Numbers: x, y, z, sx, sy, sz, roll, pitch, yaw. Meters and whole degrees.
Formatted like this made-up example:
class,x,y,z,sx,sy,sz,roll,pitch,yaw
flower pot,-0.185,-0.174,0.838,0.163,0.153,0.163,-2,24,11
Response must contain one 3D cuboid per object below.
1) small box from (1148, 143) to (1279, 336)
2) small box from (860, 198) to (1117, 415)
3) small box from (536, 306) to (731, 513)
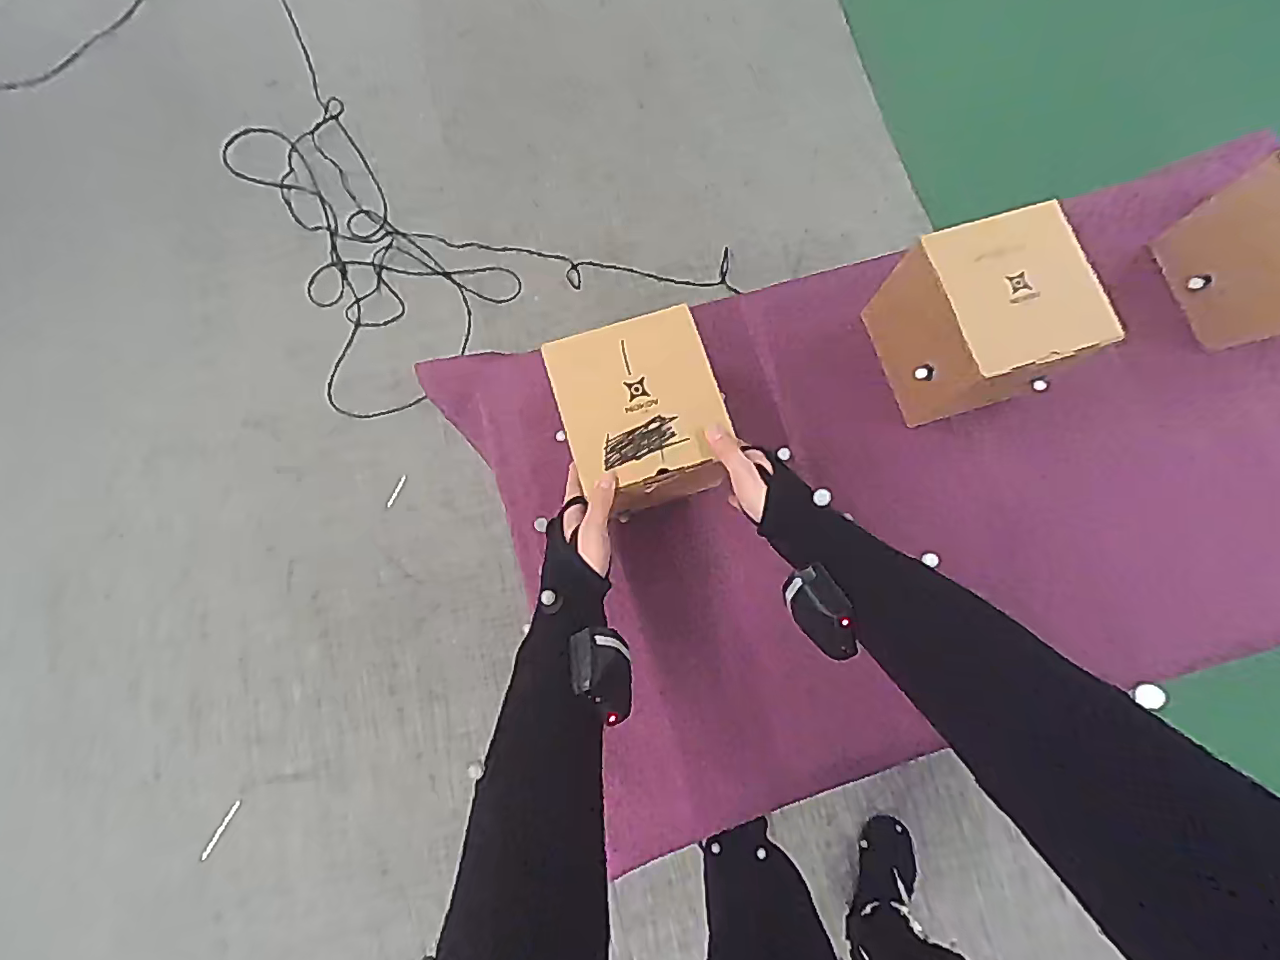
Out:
class,x,y,z,sx,sy,sz,roll,pitch,yaw
small box,0.801,-0.295,0.663,0.168,0.176,0.179,-15,79,-2
small box,0.398,-0.192,0.653,0.168,0.176,0.179,-16,78,-3
small box,-0.006,-0.067,0.636,0.168,0.176,0.179,-18,78,-3
